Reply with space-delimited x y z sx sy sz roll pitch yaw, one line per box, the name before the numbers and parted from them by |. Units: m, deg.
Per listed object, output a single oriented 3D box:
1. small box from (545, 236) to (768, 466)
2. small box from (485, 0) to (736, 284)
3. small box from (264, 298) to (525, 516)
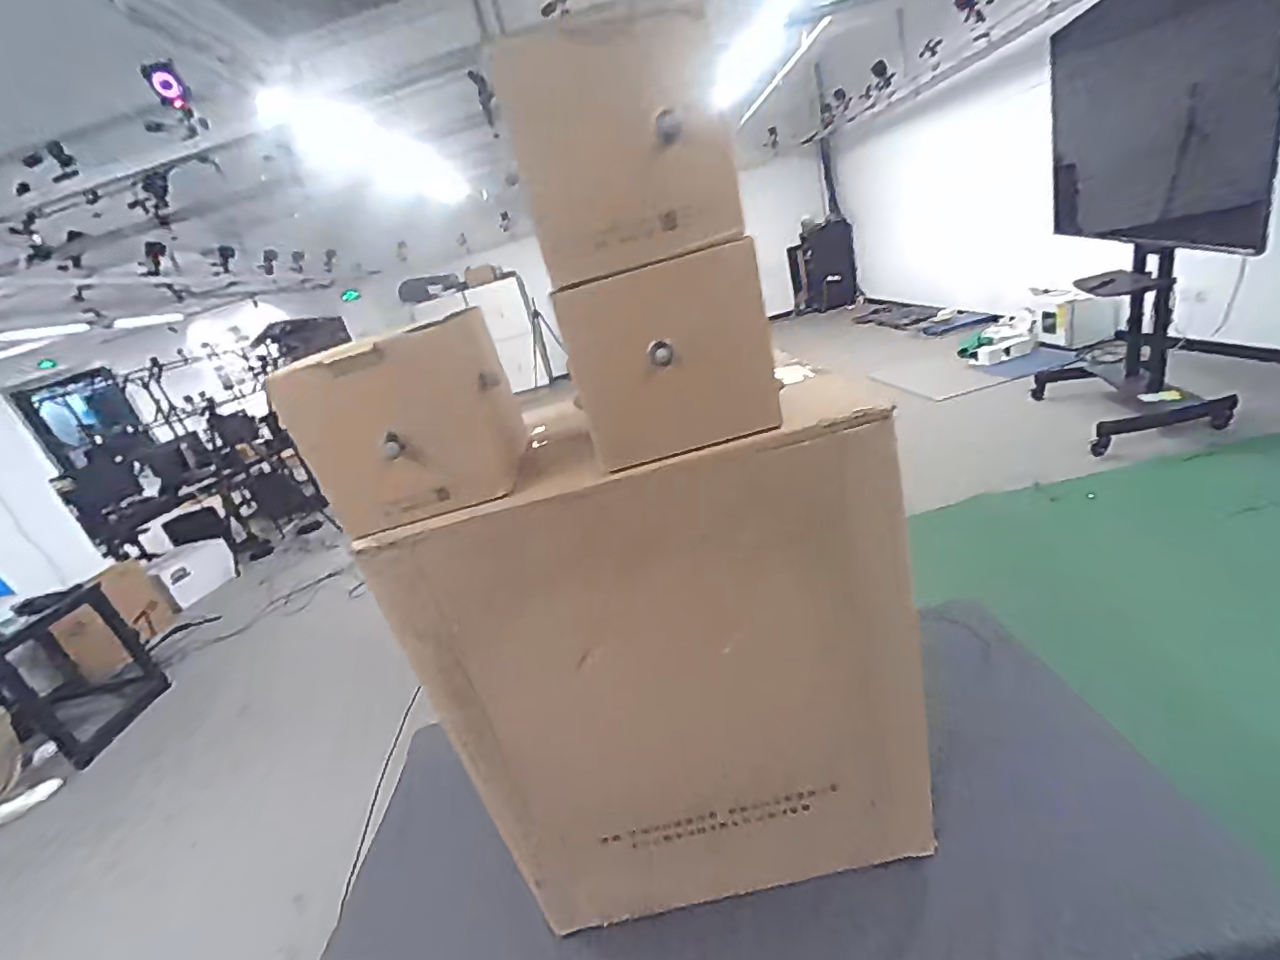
small box | 0.021 -0.133 0.541 0.179 0.176 0.168 -15 23 3
small box | -0.022 -0.279 0.485 0.168 0.176 0.179 -14 22 -2
small box | -0.231 -0.076 0.570 0.168 0.176 0.179 -15 24 2
